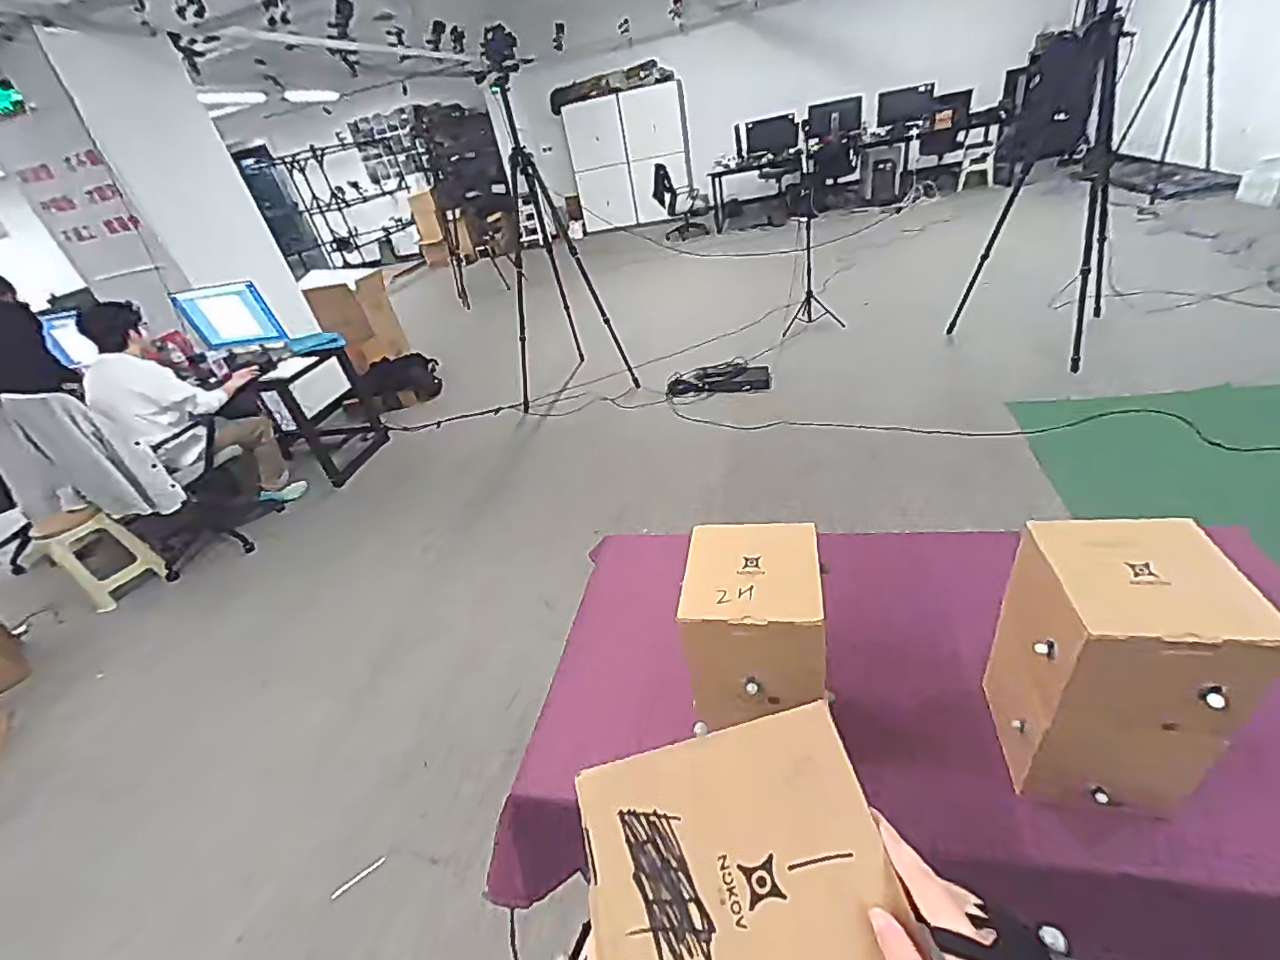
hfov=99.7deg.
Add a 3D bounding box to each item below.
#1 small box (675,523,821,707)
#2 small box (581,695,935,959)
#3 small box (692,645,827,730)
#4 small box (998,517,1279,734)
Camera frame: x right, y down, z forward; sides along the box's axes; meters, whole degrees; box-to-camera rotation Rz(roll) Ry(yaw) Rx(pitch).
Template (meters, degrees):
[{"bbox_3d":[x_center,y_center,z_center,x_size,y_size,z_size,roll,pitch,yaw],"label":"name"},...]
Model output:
[{"bbox_3d":[0.150,0.177,0.722,0.168,0.176,0.179,-3,35,16],"label":"small box"},{"bbox_3d":[0.066,0.275,0.390,0.179,0.176,0.168,-13,60,-7],"label":"small box"},{"bbox_3d":[0.179,0.314,0.809,0.179,0.176,0.168,-3,34,14],"label":"small box"},{"bbox_3d":[0.537,0.162,0.615,0.168,0.176,0.179,-2,35,15],"label":"small box"}]
